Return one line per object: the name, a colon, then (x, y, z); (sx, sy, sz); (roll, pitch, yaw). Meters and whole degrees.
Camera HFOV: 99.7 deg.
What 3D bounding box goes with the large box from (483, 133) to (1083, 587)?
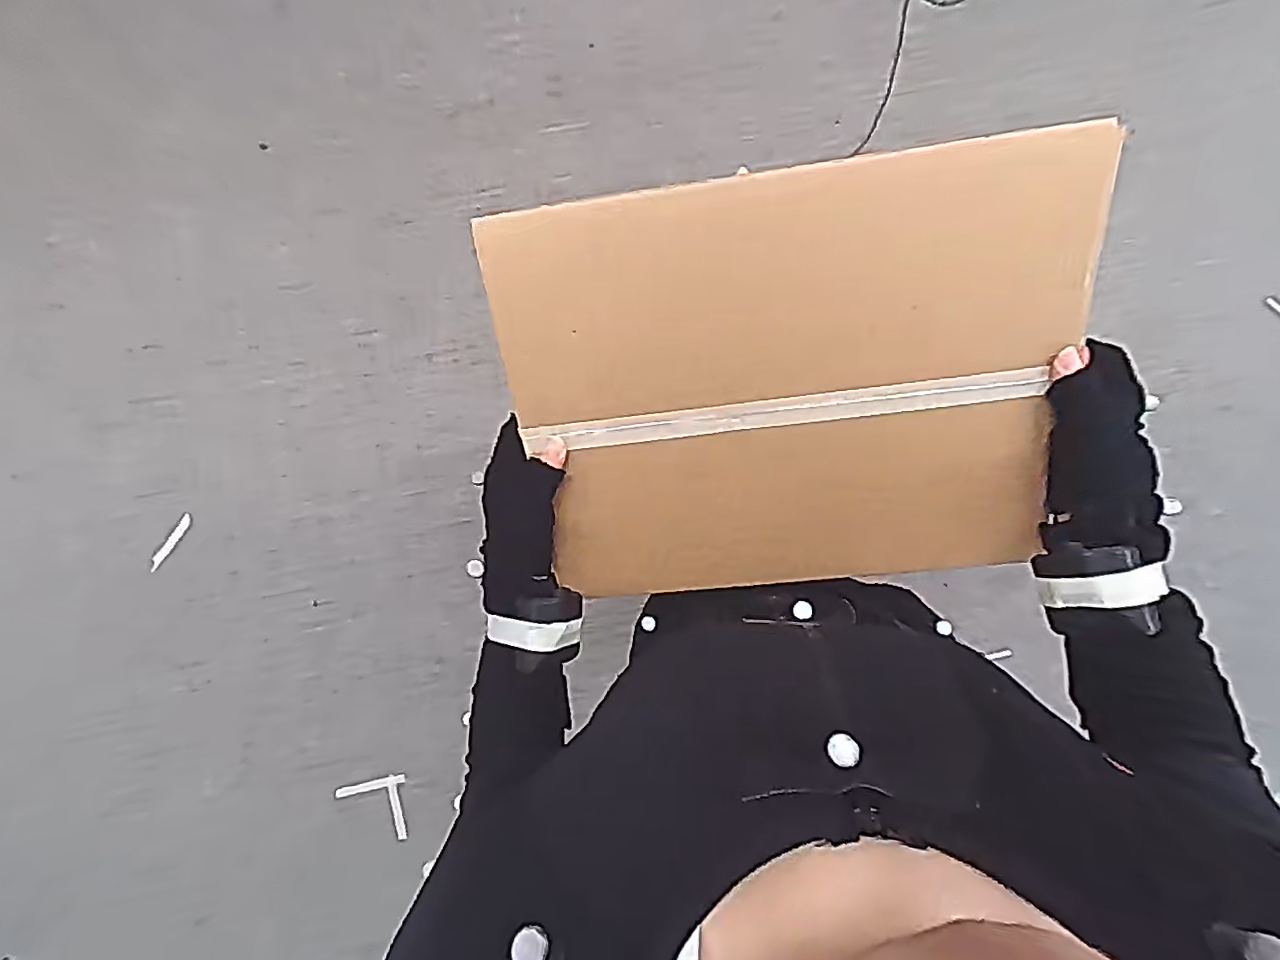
large box: (0.113, -0.123, 0.554); (0.408, 0.320, 0.320); (-6, 115, 6)
